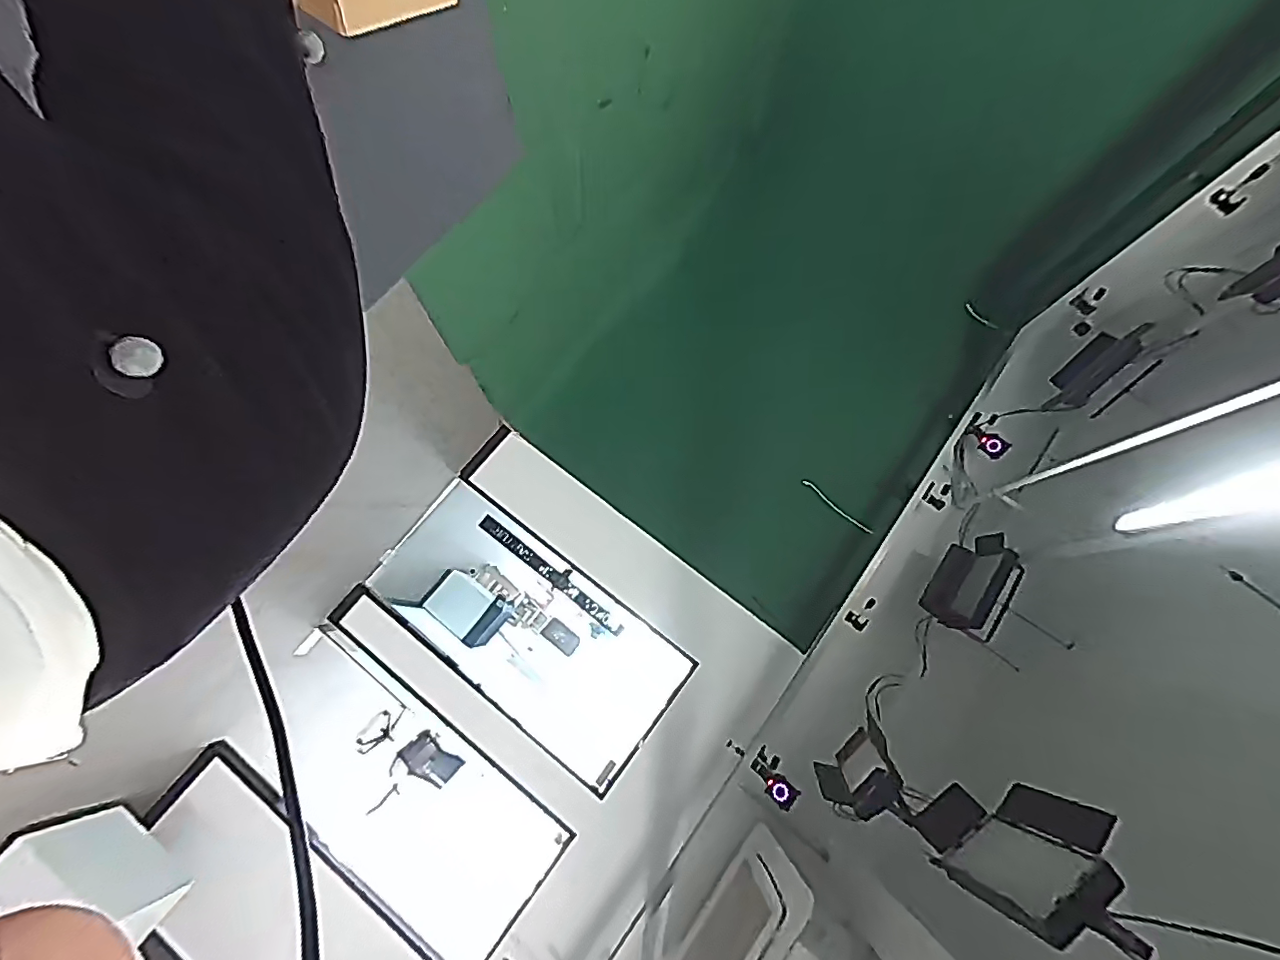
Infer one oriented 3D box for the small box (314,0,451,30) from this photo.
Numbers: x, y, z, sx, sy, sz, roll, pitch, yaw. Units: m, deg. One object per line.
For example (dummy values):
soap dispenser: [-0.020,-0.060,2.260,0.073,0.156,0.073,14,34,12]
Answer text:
small box: [-0.336,-0.655,0.600,0.179,0.176,0.168,-49,173,-29]
